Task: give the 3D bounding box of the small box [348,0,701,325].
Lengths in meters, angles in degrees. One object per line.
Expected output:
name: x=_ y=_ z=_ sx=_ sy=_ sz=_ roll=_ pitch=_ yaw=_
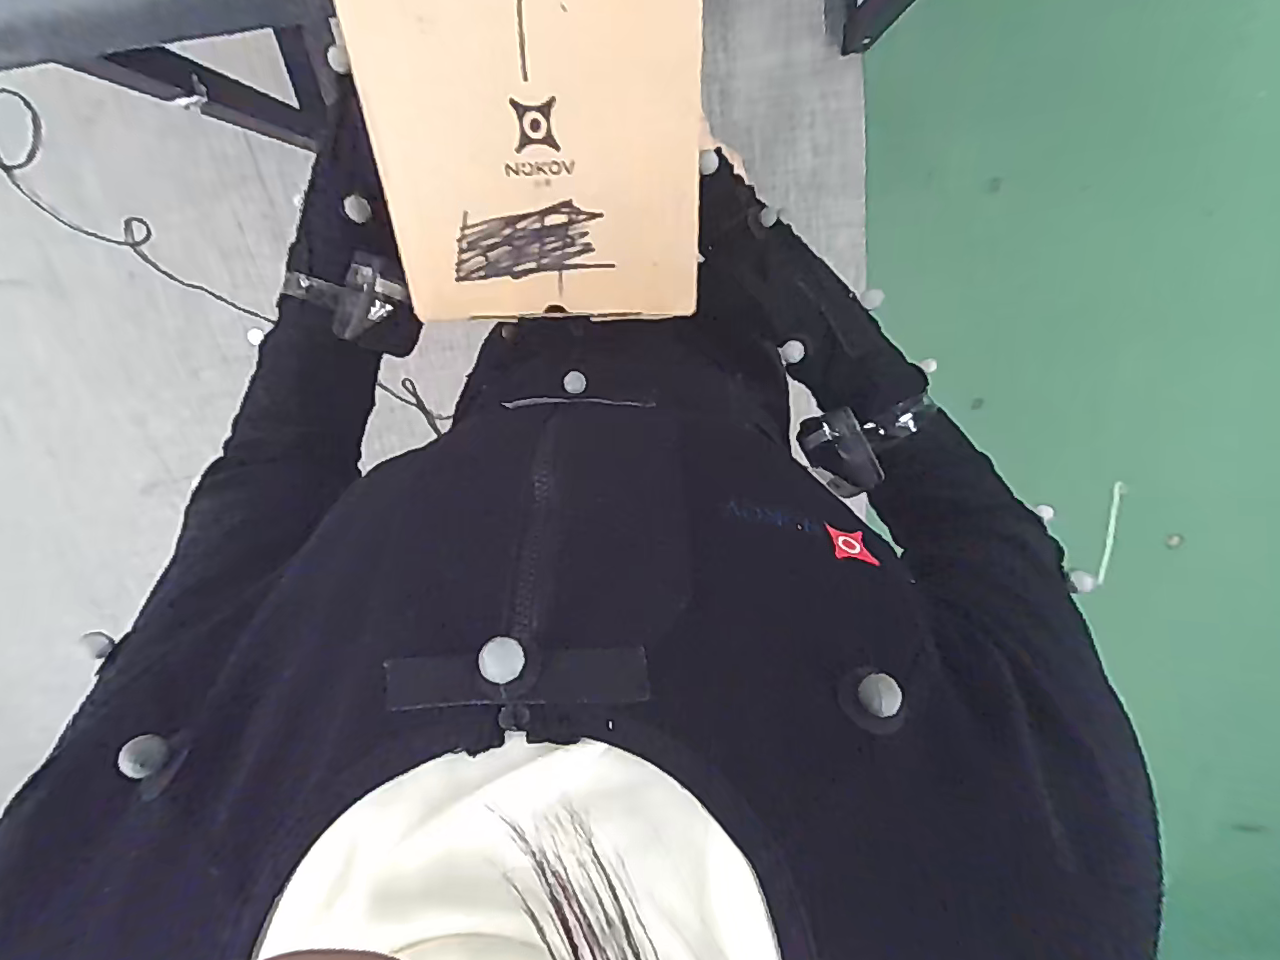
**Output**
small box: x=-0.051 y=-0.211 z=0.349 sx=0.168 sy=0.176 sz=0.179 roll=0 pitch=122 yaw=1
